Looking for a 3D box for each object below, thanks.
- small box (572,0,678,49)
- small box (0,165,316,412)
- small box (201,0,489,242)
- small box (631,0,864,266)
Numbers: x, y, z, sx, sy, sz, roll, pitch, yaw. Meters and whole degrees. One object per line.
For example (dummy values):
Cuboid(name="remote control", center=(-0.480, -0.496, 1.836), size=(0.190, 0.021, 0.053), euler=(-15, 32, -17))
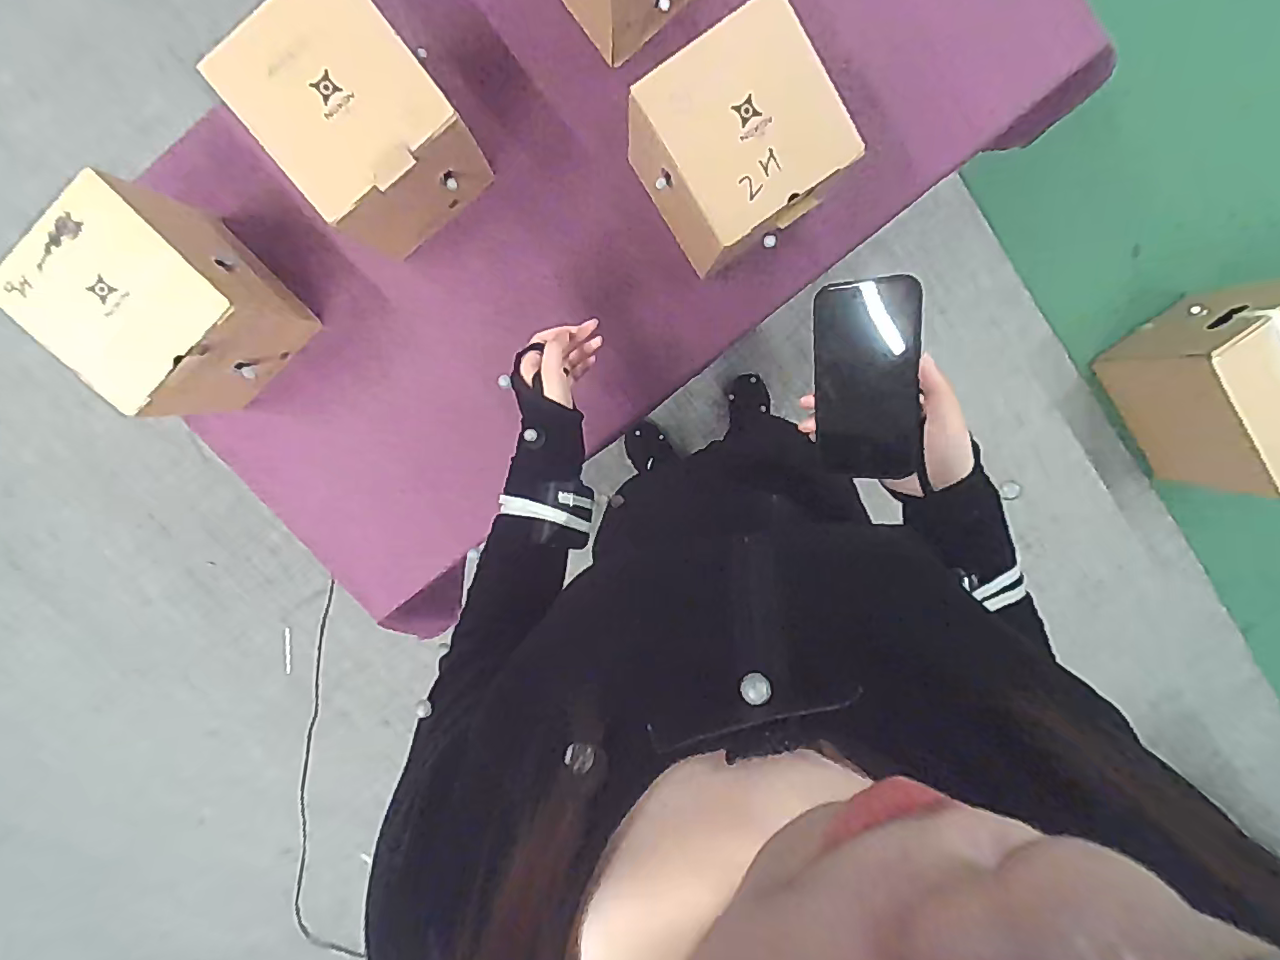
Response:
Cuboid(name="small box", center=(-0.022, -0.604, 0.545), size=(0.168, 0.176, 0.179), euler=(-40, 100, 6))
Cuboid(name="small box", center=(-0.518, -0.200, 0.608), size=(0.168, 0.176, 0.179), euler=(-43, 100, 6))
Cuboid(name="small box", center=(-0.290, -0.382, 0.581), size=(0.168, 0.176, 0.179), euler=(-38, 99, 4))
Cuboid(name="small box", center=(0.101, -0.365, 0.592), size=(0.168, 0.176, 0.179), euler=(-33, 100, 5))
